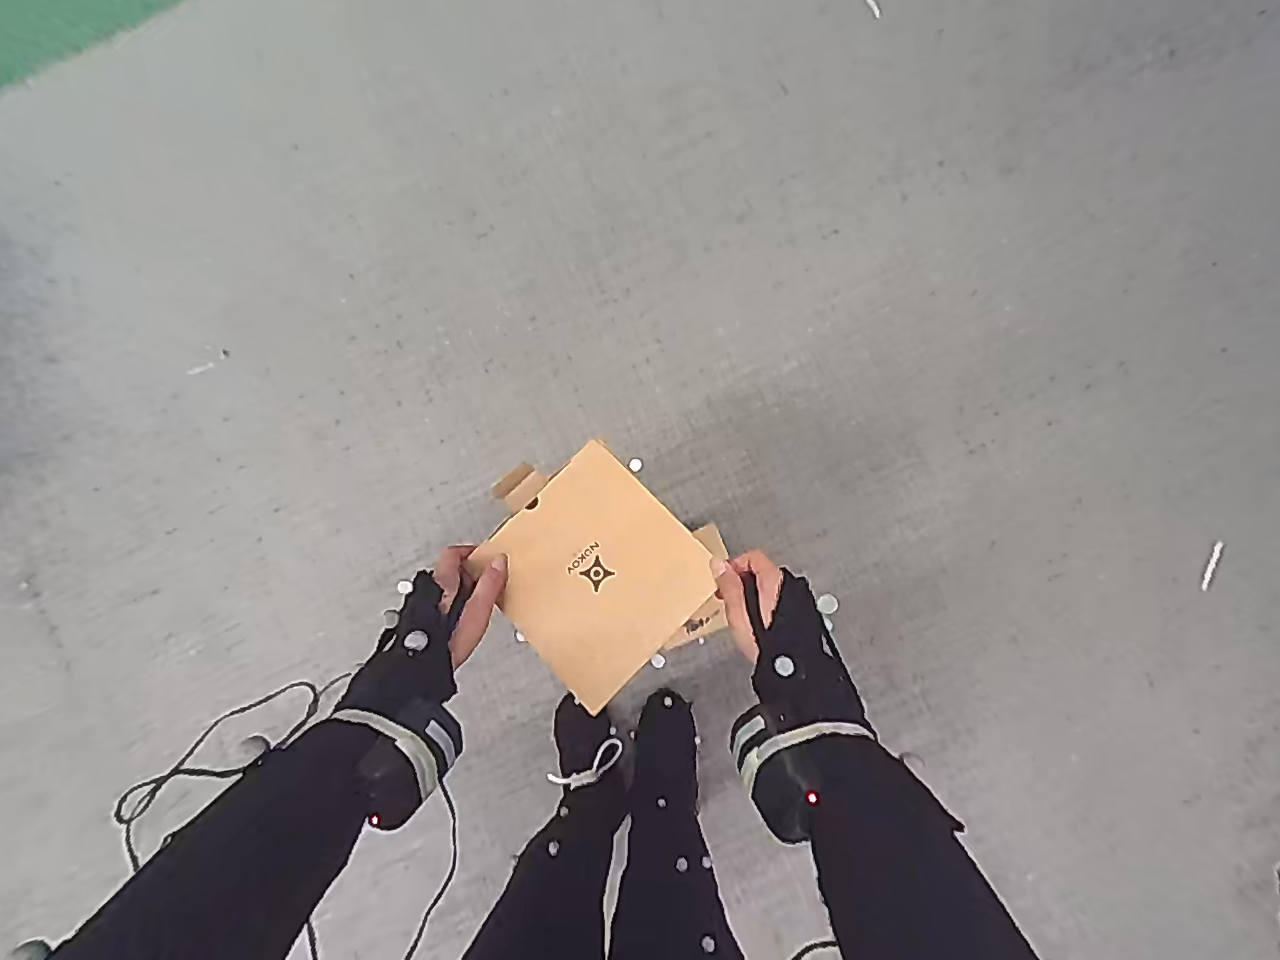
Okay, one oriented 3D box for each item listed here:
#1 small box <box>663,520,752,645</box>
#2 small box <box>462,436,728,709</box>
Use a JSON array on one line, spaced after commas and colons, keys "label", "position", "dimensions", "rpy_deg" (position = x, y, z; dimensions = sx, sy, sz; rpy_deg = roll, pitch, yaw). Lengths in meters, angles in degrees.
[{"label": "small box", "position": [0.093, 0.192, 1.020], "dimensions": [0.168, 0.176, 0.179], "rpy_deg": [-22, 80, 1]}, {"label": "small box", "position": [-0.033, 0.087, 0.538], "dimensions": [0.168, 0.176, 0.179], "rpy_deg": [-45, 78, -4]}]
